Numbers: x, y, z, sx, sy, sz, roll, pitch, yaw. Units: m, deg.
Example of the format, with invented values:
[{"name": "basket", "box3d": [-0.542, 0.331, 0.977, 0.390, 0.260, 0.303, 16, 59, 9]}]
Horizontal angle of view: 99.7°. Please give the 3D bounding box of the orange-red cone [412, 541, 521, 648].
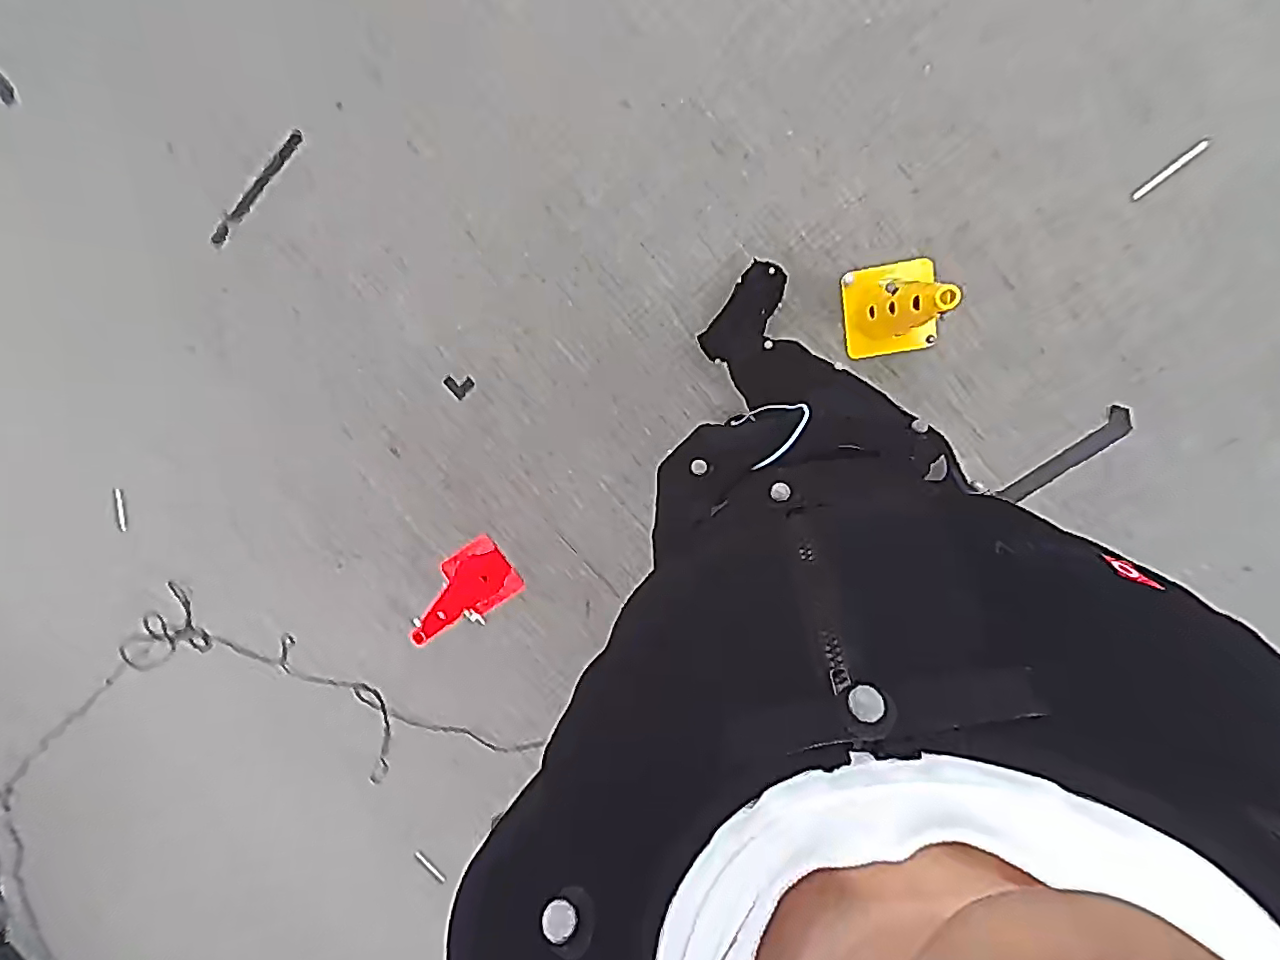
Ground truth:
[{"name": "orange-red cone", "box3d": [-0.495, 0.335, 1.436, 0.199, 0.360, 0.198, -32, 98, 14]}]
